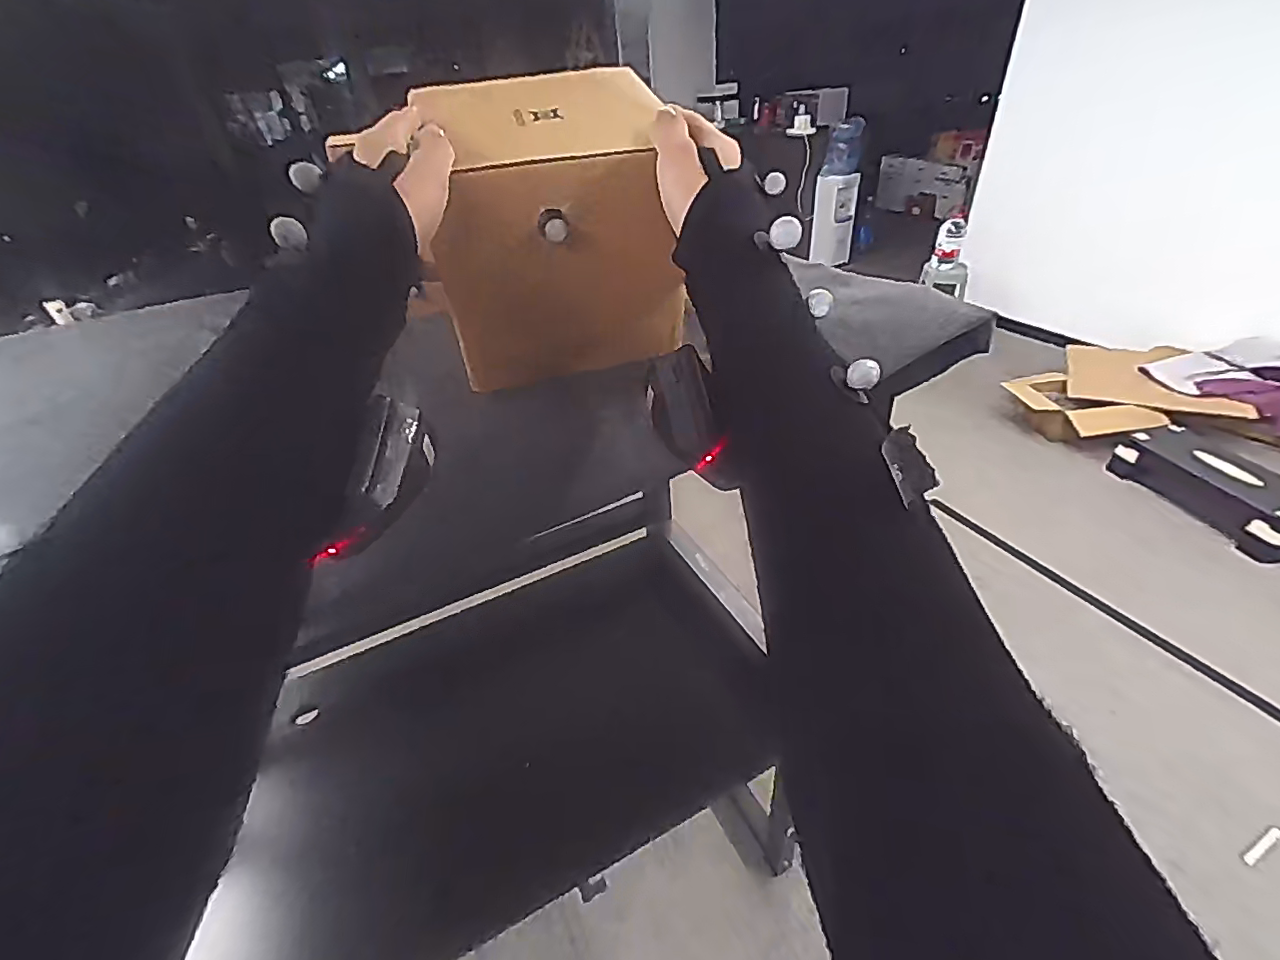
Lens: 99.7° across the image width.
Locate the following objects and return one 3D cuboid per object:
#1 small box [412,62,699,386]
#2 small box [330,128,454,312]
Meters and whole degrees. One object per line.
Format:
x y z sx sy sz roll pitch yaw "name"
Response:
-0.065 -0.200 0.432 0.179 0.176 0.168 -13 52 -8 "small box"
-0.236 -0.308 0.630 0.168 0.176 0.179 -18 38 -16 "small box"
